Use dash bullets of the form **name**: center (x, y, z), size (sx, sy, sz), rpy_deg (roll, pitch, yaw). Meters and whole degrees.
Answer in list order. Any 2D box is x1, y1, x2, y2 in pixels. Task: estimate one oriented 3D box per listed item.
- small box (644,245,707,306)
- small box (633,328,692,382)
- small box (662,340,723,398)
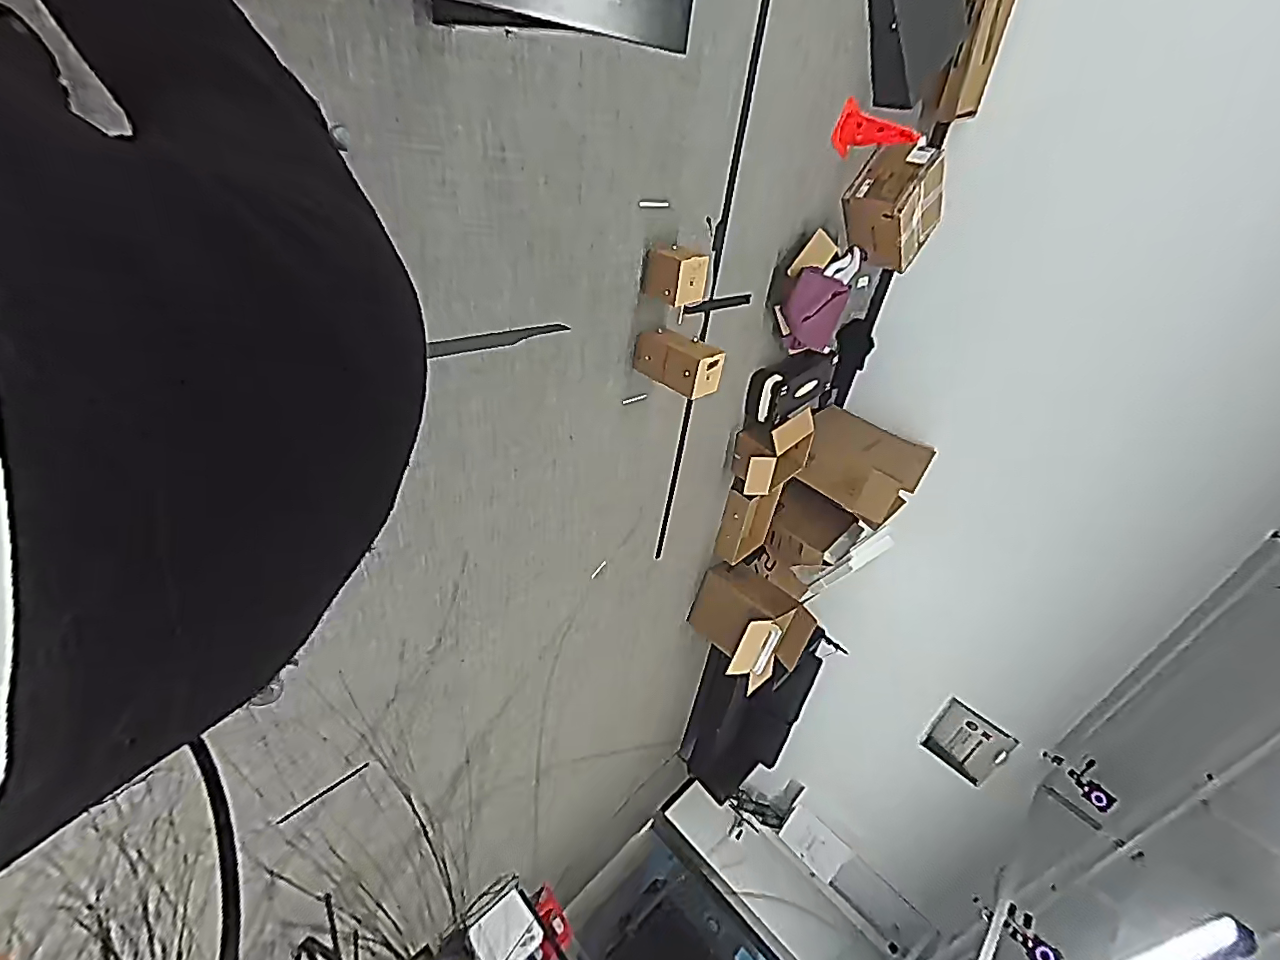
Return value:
- **small box**: center (0.134, -0.801, 2.107), size (0.168, 0.176, 0.179), rpy_deg (-28, 138, -37)
- **small box**: center (0.094, -0.537, 2.300), size (0.179, 0.176, 0.168), rpy_deg (-23, 136, -40)
- **small box**: center (0.211, -0.461, 2.210), size (0.168, 0.176, 0.179), rpy_deg (-25, 138, -39)
